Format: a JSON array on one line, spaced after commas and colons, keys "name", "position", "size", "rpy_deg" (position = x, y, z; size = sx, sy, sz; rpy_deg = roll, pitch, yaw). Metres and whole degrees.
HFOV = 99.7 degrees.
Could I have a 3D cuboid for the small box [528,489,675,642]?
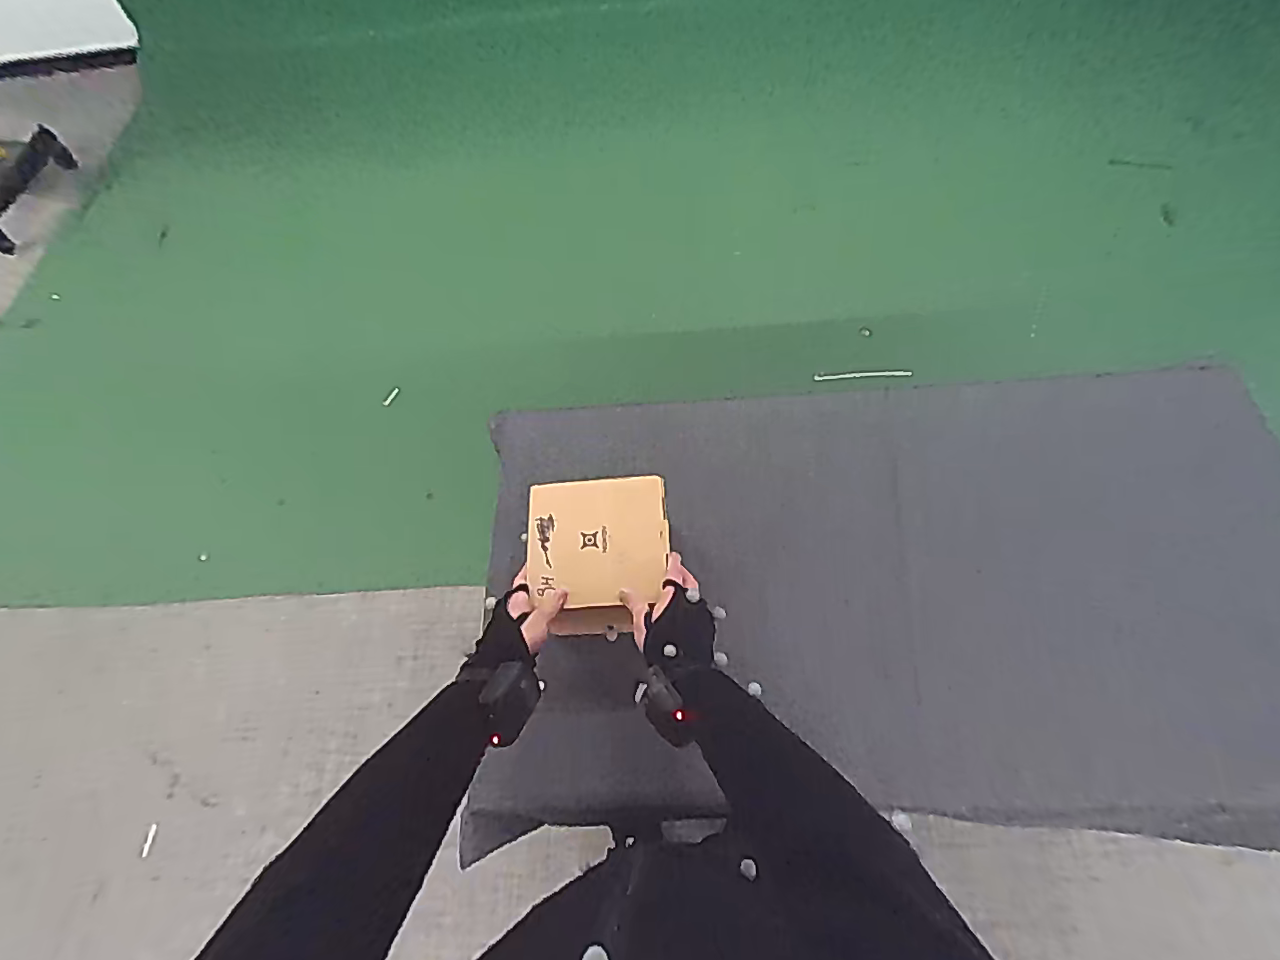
[{"name": "small box", "position": [-0.044, 0.123, 0.741], "size": [0.179, 0.176, 0.168], "rpy_deg": [-3, 64, 2]}]
